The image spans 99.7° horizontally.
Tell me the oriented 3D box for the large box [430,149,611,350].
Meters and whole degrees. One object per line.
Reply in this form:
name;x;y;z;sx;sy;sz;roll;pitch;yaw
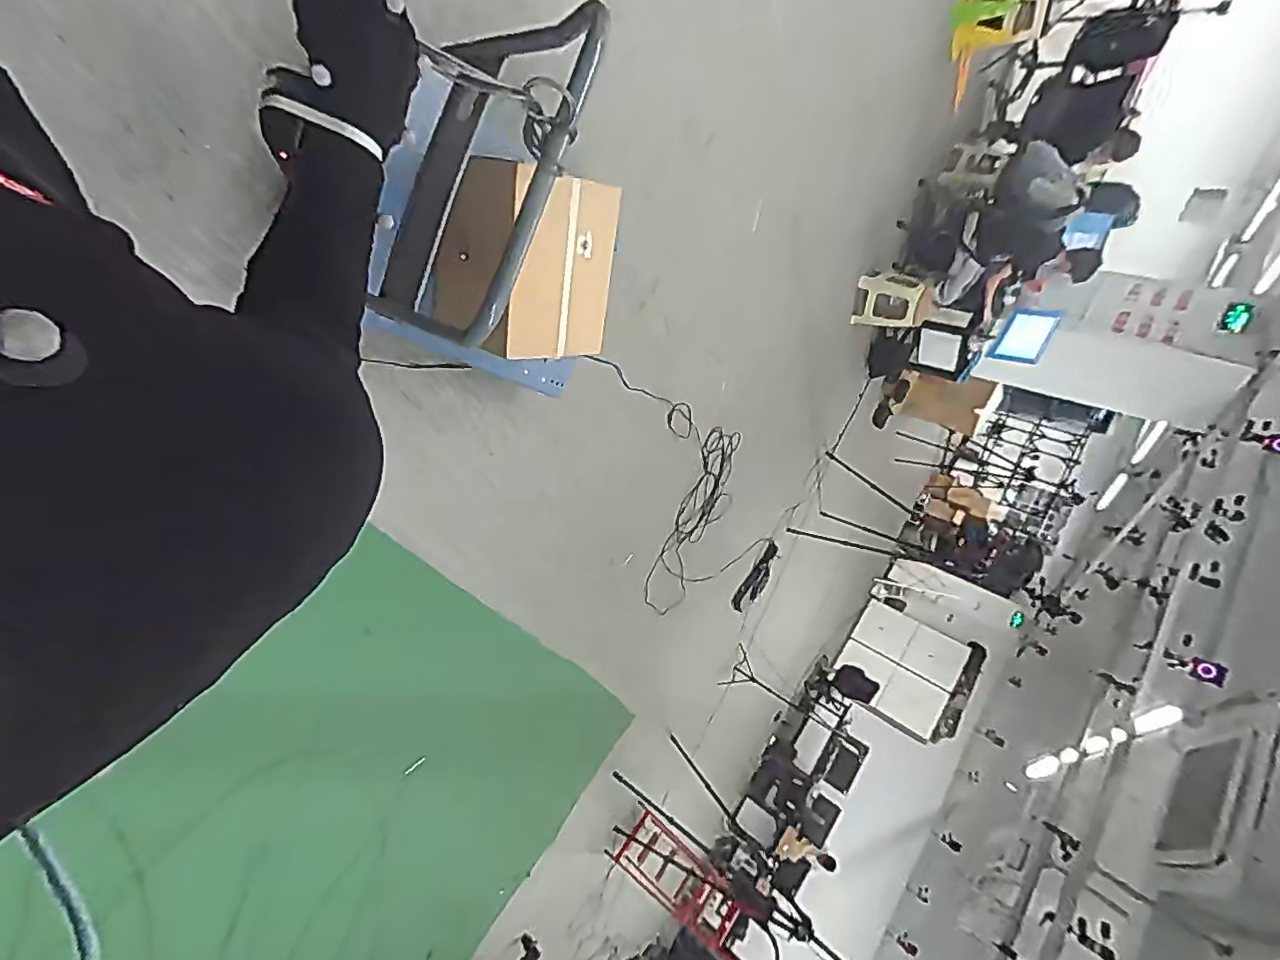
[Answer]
large box;-0.308;-0.565;1.356;0.320;0.320;0.408;-19;126;-48
